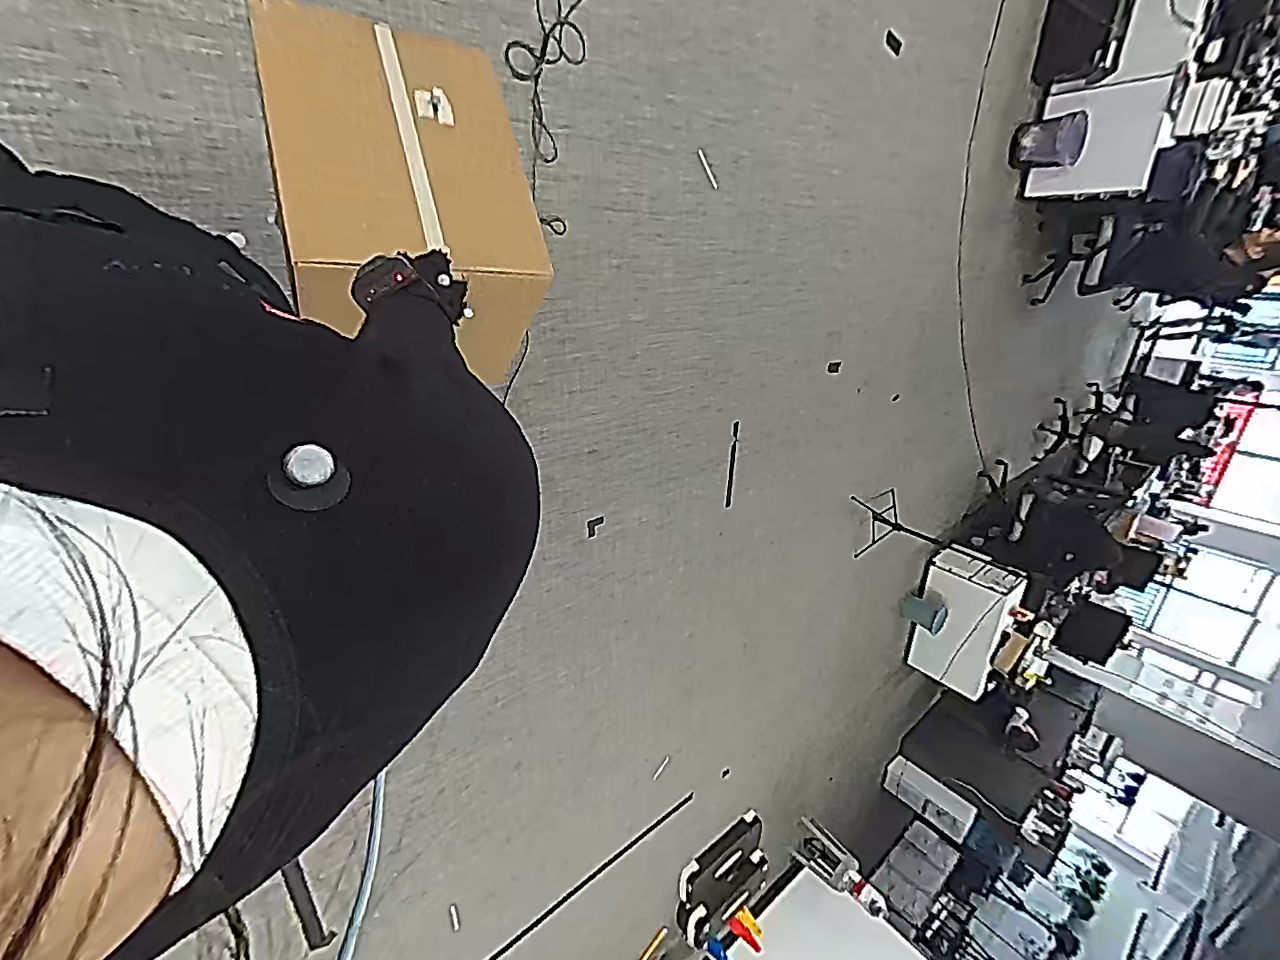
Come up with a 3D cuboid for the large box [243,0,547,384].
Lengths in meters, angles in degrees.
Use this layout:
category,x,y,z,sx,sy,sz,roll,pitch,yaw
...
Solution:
category,x,y,z,sx,sy,sz,roll,pitch,yaw
large box,-0.384,-0.406,0.851,0.320,0.320,0.408,-10,76,-32
